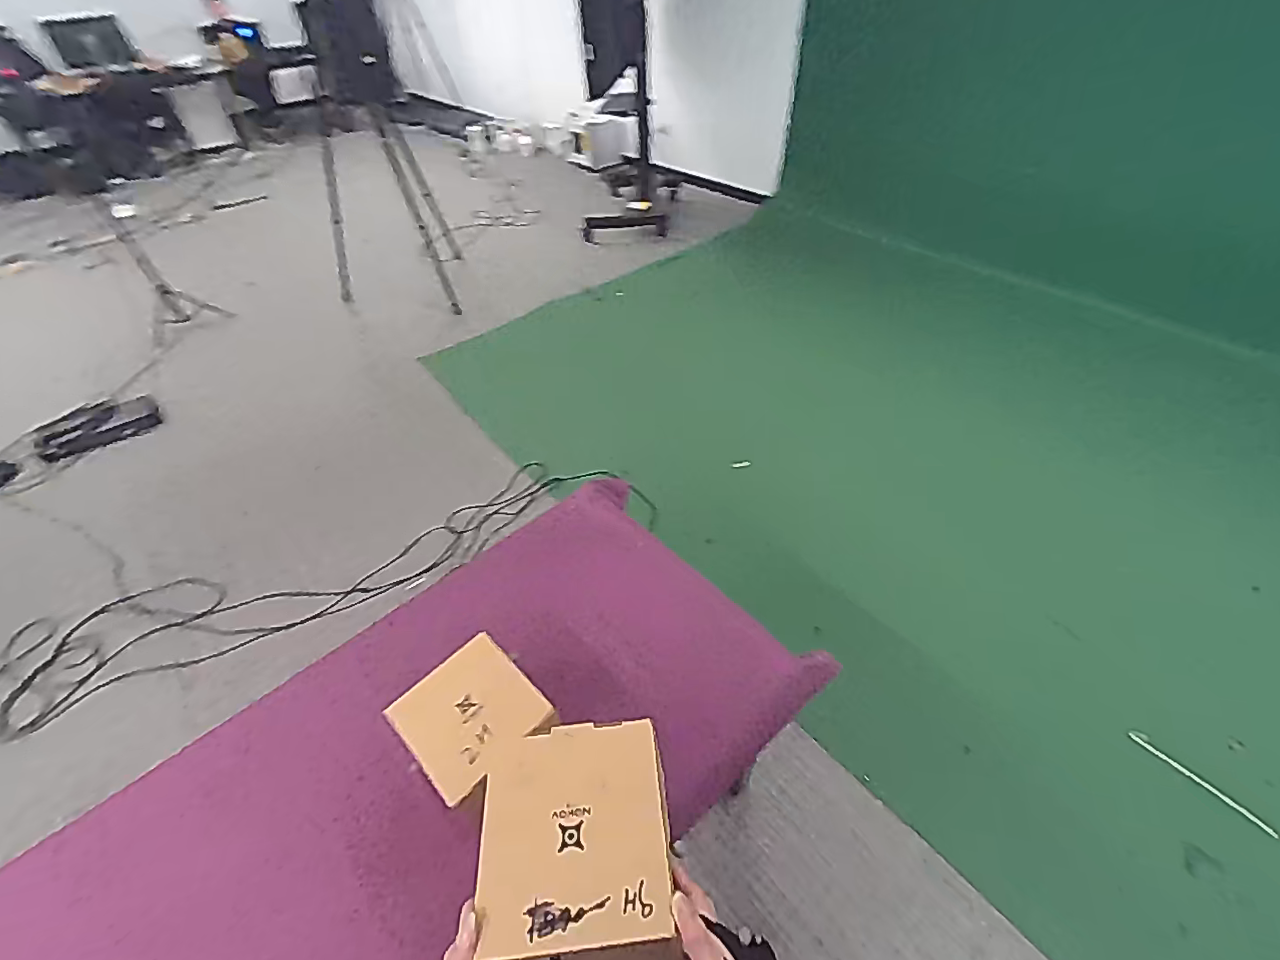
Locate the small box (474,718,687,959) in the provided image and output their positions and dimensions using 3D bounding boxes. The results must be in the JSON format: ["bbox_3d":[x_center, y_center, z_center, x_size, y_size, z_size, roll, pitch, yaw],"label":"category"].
[{"bbox_3d":[-0.047,0.364,0.531,0.168,0.176,0.179,-7,41,0],"label":"small box"}]

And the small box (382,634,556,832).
[{"bbox_3d":[-0.234,0.369,0.787,0.179,0.176,0.168,34,56,30],"label":"small box"}]
